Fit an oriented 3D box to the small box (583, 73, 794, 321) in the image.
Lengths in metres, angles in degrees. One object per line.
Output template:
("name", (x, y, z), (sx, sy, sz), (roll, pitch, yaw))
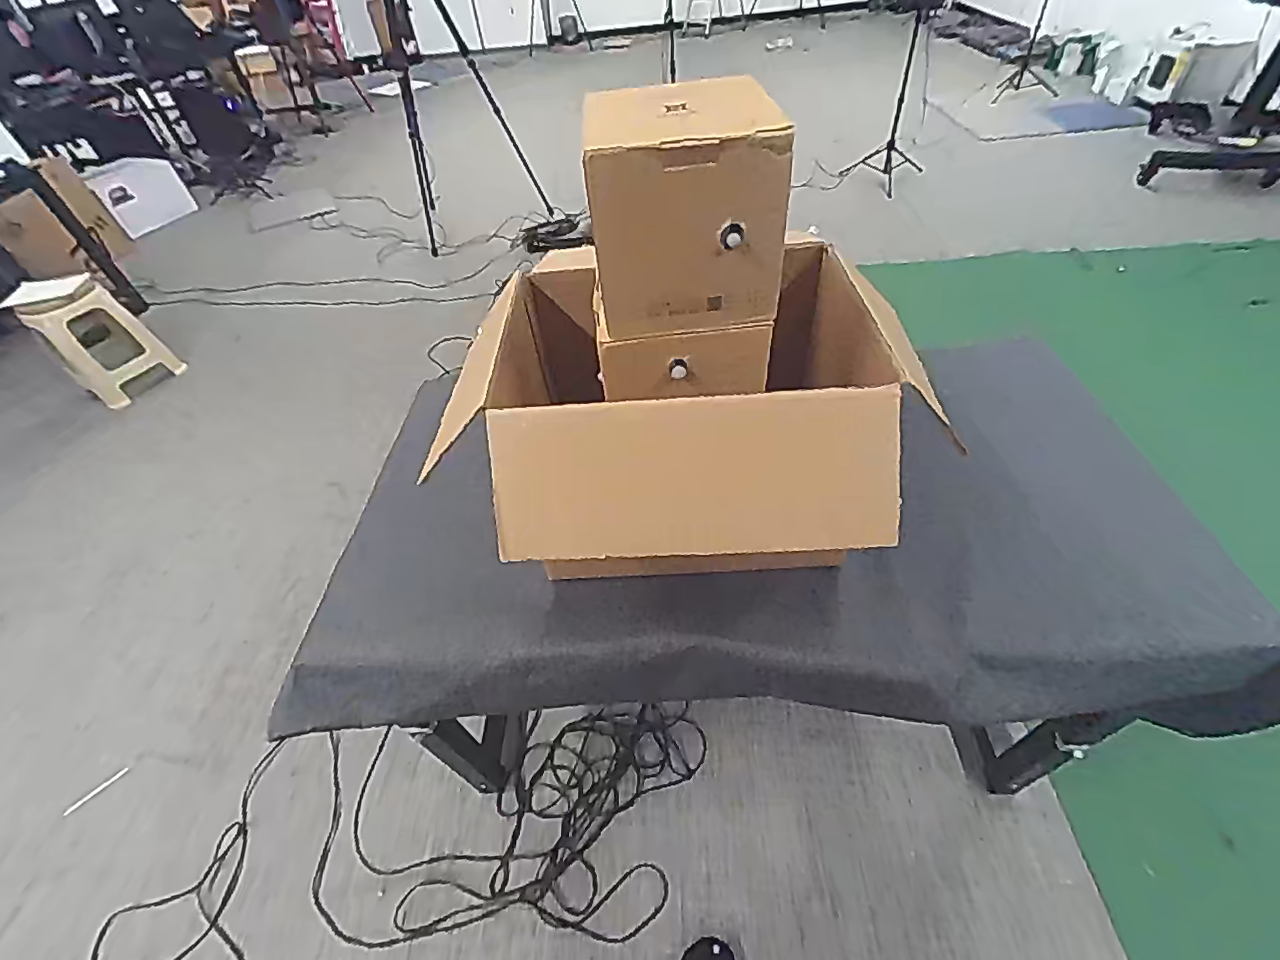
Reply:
("small box", (0.039, -0.267, 0.524), (0.168, 0.176, 0.179), (-5, 47, 0))
